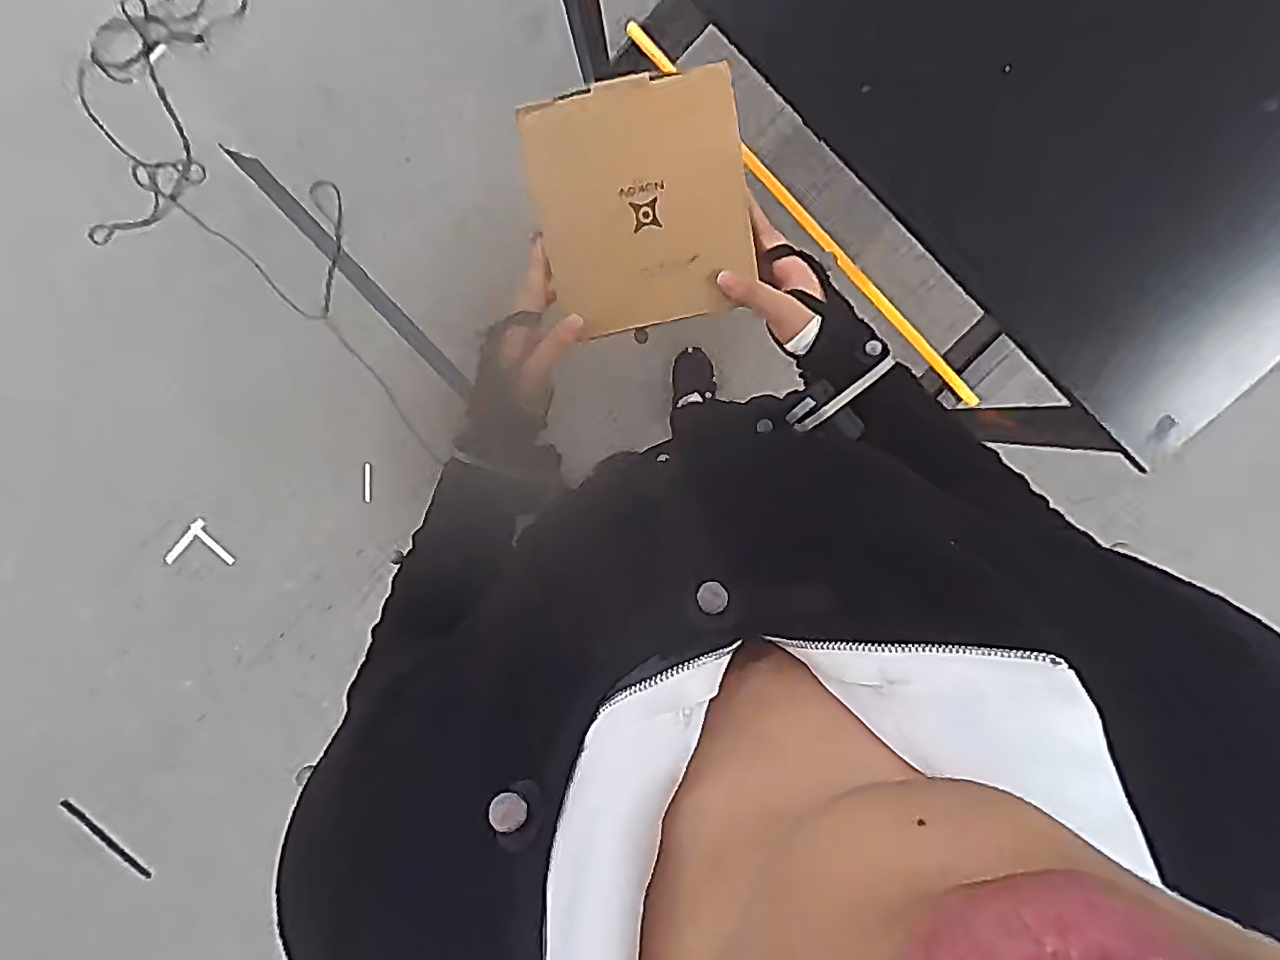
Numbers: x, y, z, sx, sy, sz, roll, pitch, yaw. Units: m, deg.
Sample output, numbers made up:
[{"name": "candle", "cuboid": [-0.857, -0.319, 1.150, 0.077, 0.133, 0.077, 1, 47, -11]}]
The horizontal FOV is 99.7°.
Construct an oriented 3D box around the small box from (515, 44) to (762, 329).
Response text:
[{"name": "small box", "cuboid": [-0.003, -0.238, 0.486, 0.168, 0.176, 0.179, -12, 107, -1]}]
